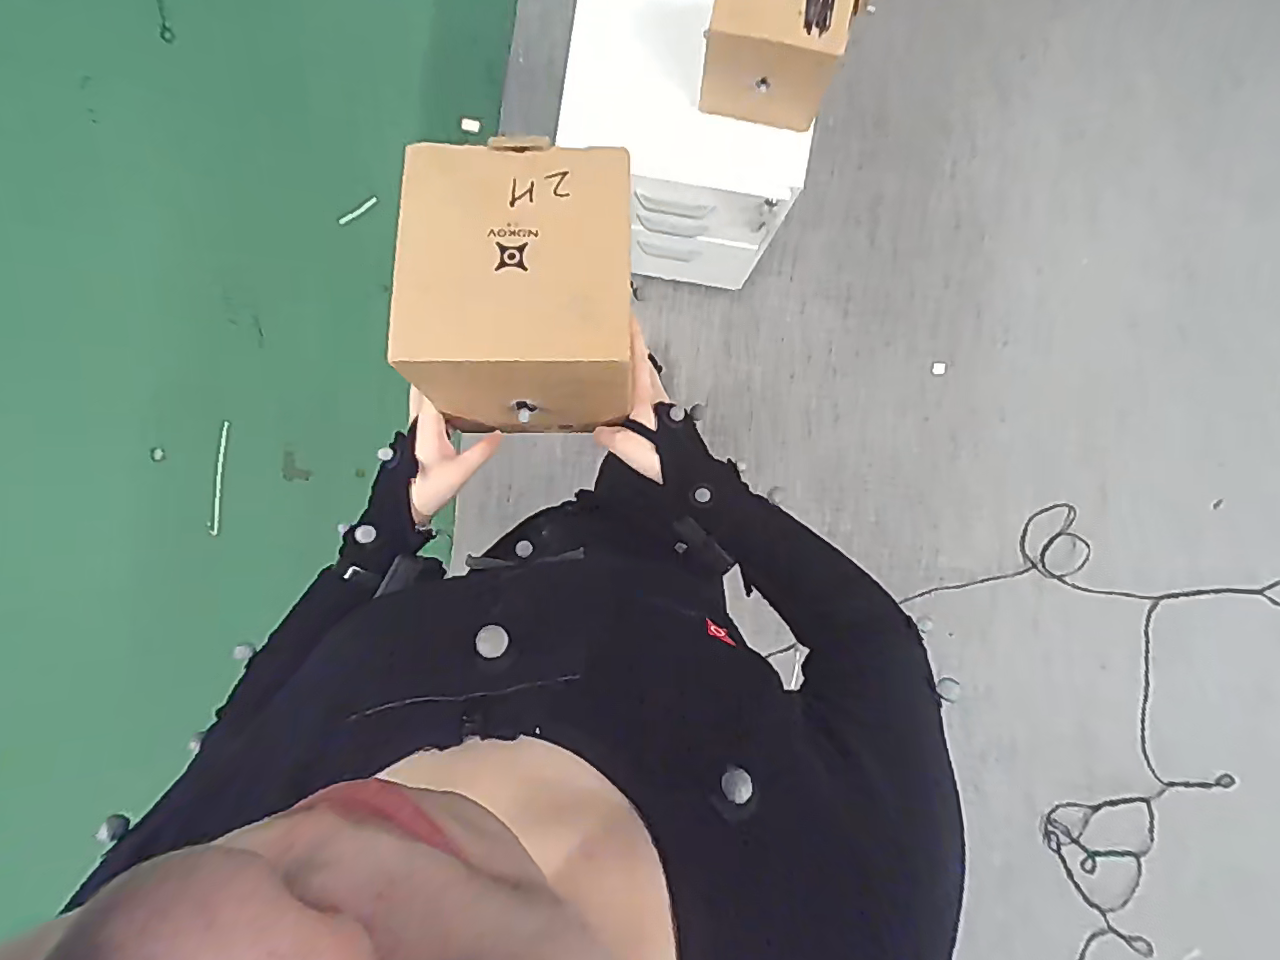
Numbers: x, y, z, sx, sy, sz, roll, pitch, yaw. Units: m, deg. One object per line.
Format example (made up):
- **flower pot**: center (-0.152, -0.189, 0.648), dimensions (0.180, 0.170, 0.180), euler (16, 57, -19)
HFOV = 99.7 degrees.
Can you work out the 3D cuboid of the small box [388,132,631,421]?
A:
- **small box**: center (-0.092, -0.155, 0.462), dimensions (0.168, 0.176, 0.179), euler (0, 78, -2)
